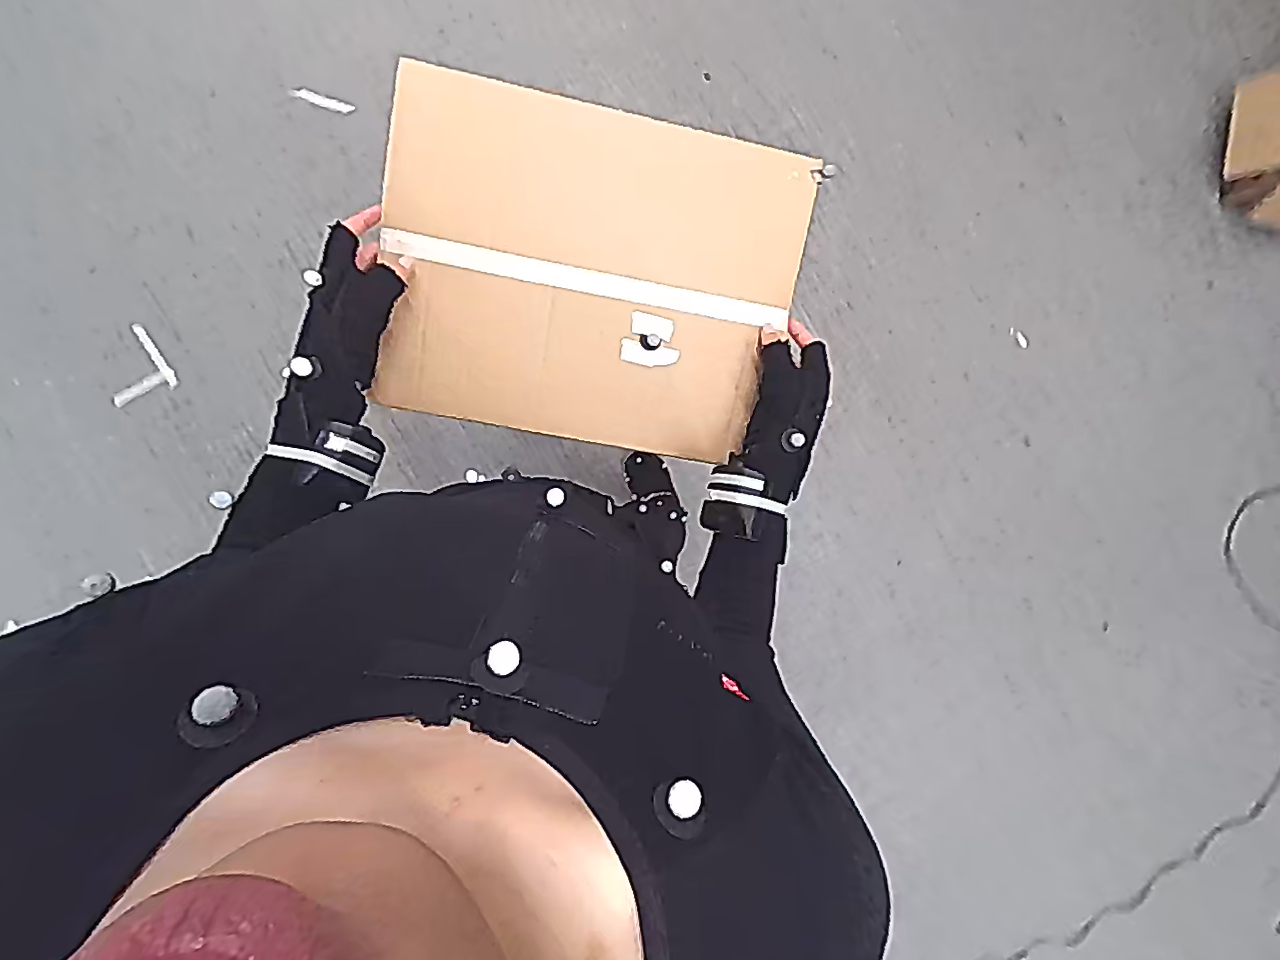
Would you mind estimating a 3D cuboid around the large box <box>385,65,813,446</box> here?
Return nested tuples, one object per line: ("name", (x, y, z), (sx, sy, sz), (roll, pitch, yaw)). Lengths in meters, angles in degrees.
("large box", (-0.058, -0.236, 0.688), (0.408, 0.320, 0.320), (8, 100, -7))
